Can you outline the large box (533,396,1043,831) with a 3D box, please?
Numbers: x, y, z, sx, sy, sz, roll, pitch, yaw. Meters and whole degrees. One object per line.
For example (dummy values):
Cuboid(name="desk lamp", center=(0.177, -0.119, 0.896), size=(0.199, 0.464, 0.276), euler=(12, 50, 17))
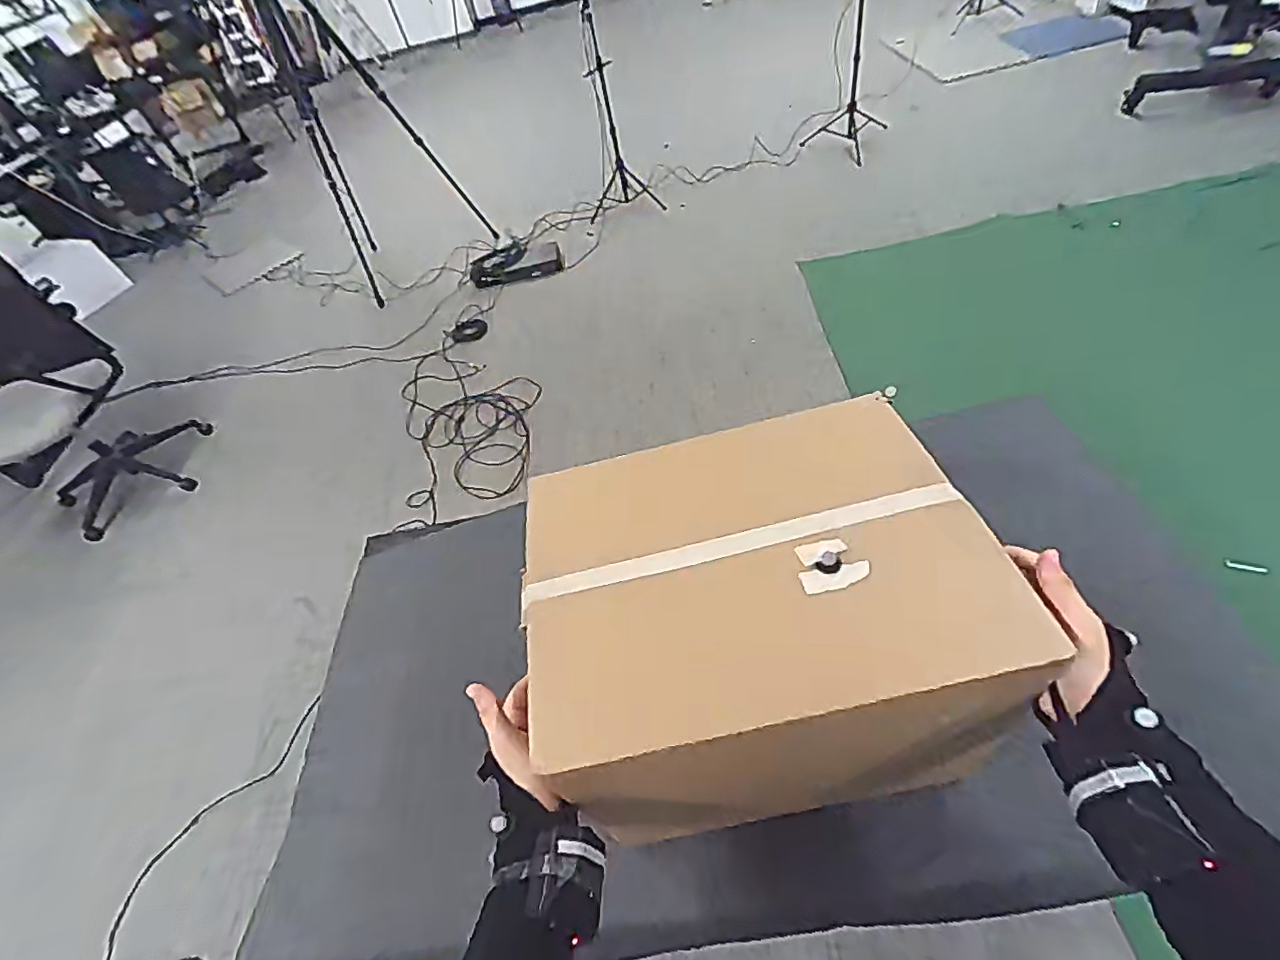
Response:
Cuboid(name="large box", center=(0.120, 0.160, 0.622), size=(0.408, 0.320, 0.320), euler=(-14, 48, 2))
